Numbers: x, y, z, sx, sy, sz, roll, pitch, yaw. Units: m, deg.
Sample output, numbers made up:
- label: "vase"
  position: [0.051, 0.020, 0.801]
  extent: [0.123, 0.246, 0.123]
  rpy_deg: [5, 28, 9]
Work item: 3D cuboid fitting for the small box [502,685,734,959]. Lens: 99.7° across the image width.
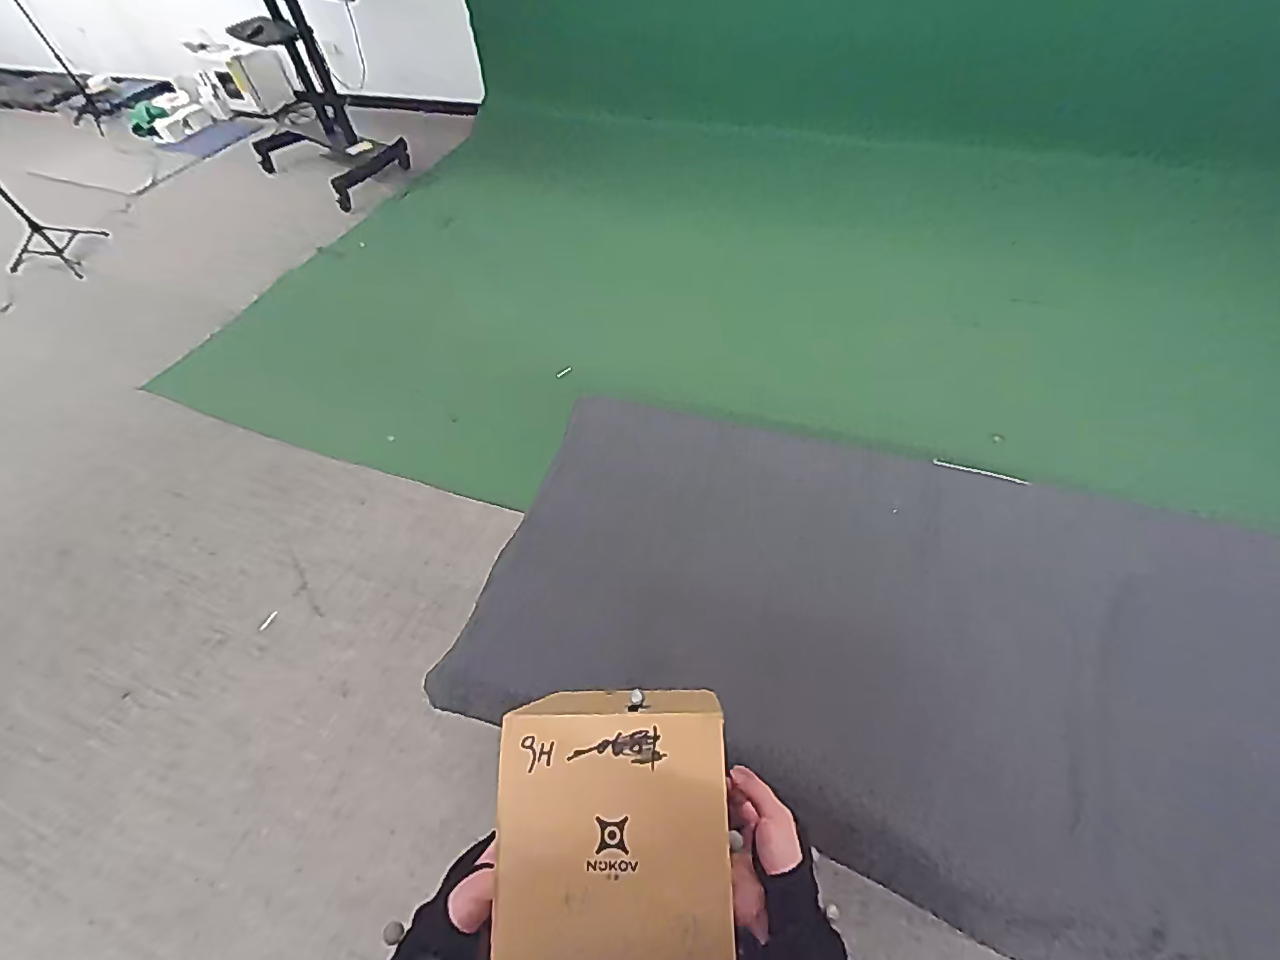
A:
- label: "small box"
  position: [-0.009, 0.281, 0.466]
  extent: [0.168, 0.176, 0.179]
  rpy_deg: [-2, 76, 4]
